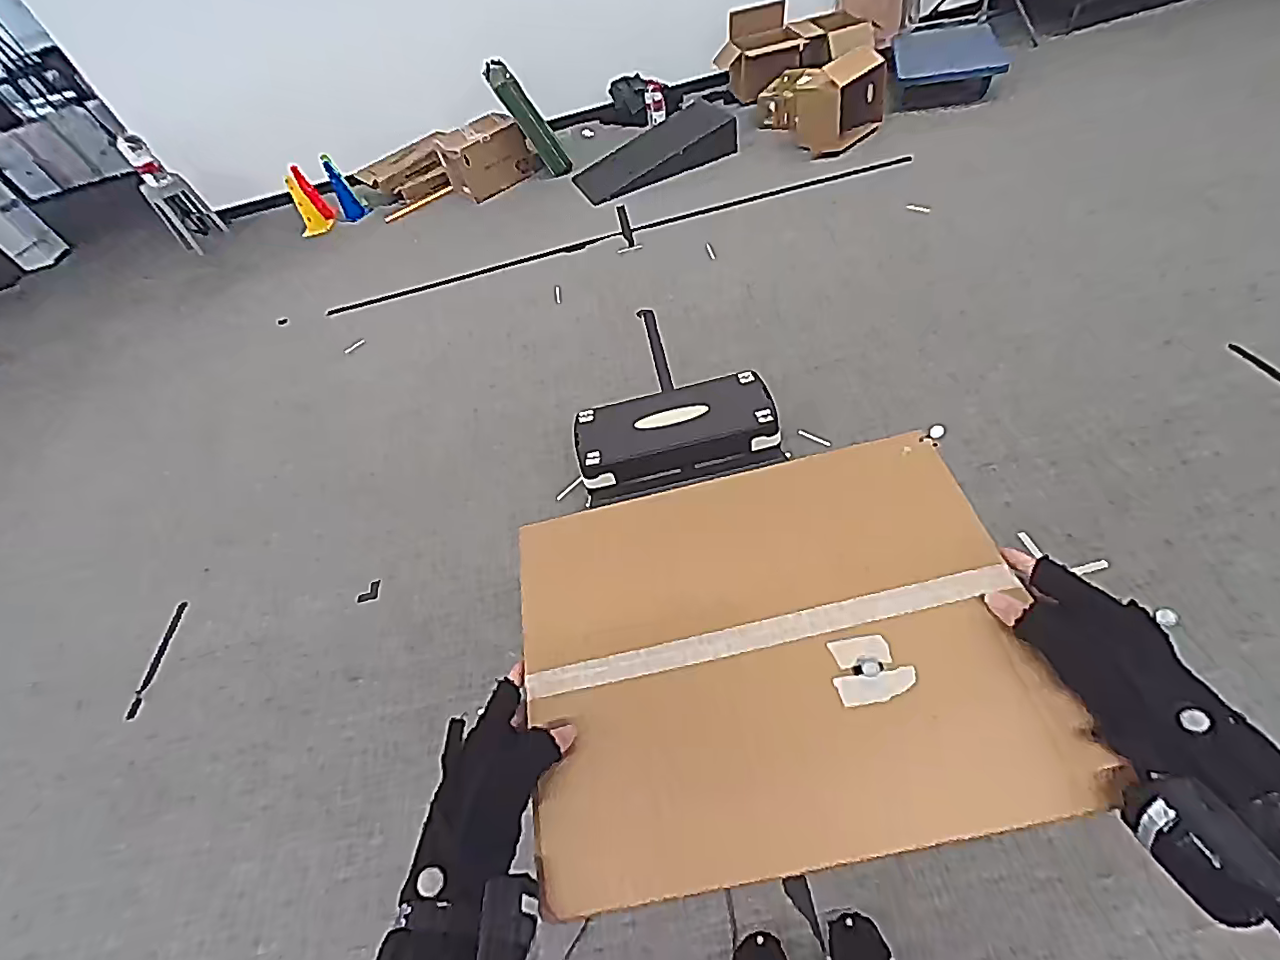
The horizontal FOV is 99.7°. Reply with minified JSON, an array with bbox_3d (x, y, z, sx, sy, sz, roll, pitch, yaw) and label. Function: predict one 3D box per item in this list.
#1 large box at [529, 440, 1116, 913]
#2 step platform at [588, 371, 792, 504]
[{"bbox_3d":[0.130,0.212,0.577,0.408,0.320,0.320,-14,56,3],"label":"large box"},{"bbox_3d":[0.163,-0.151,1.861,0.684,0.204,0.286,-14,50,2],"label":"step platform"}]
